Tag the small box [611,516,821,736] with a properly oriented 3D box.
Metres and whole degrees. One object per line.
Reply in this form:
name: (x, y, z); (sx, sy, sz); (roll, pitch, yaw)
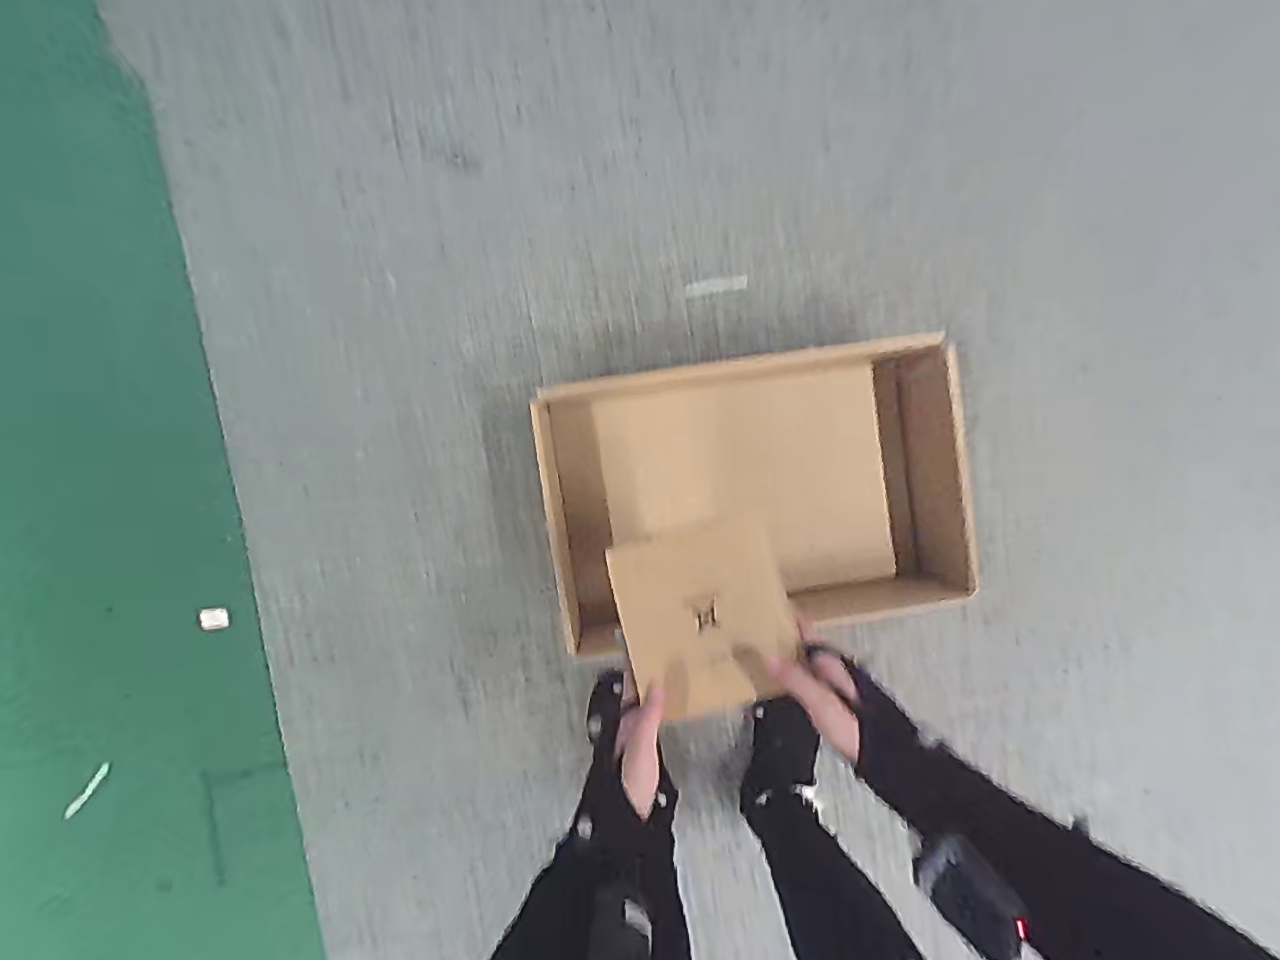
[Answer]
small box: (0.072, 0.156, 0.593); (0.168, 0.176, 0.179); (-15, 74, 1)
